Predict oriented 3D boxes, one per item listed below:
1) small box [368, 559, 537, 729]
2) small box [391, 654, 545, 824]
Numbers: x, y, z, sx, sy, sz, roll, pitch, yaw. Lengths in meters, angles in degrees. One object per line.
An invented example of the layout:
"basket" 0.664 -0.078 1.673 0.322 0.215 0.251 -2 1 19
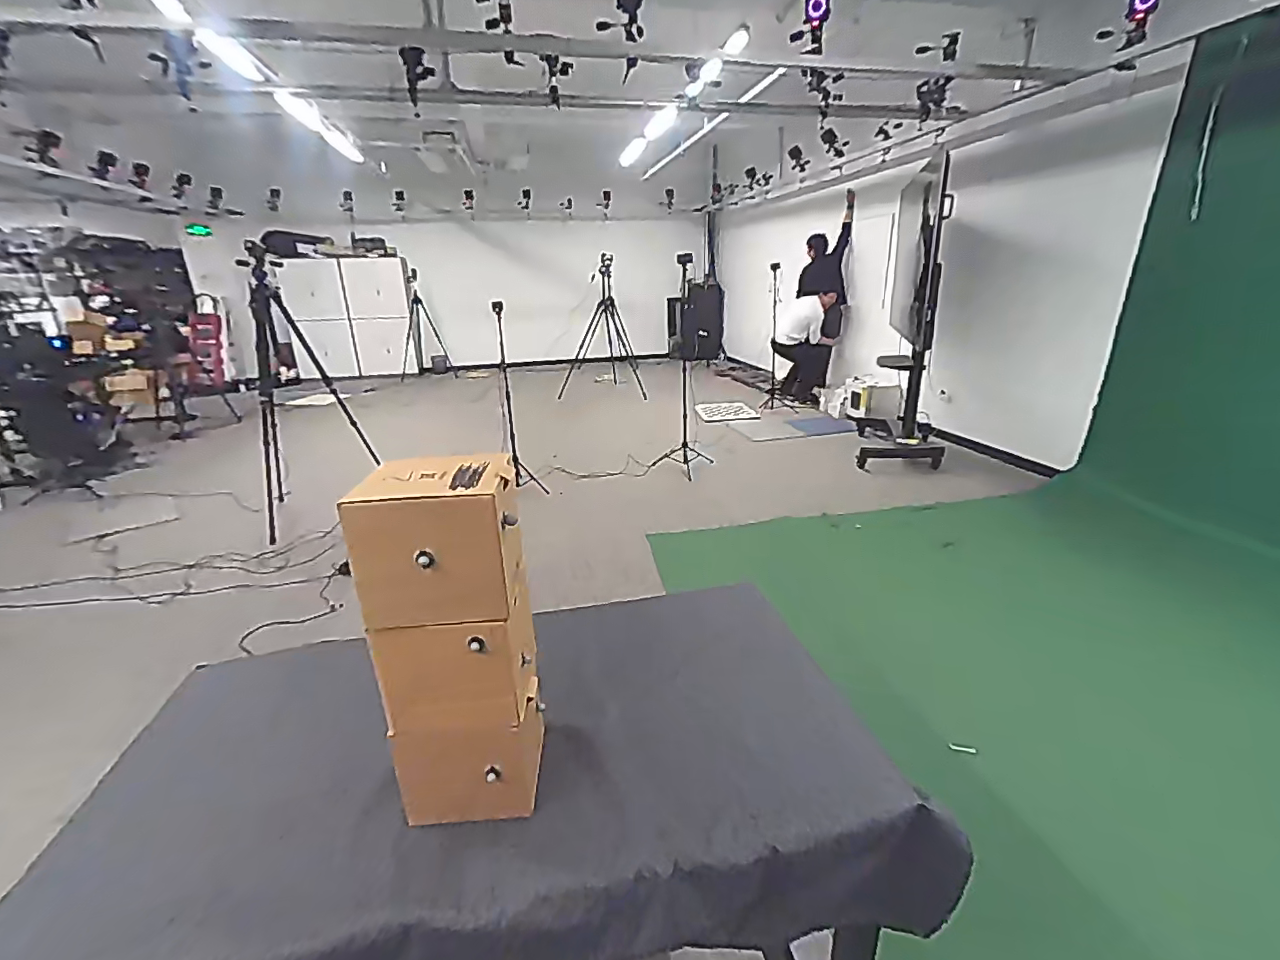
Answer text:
"small box" -0.248 0.227 0.762 0.179 0.176 0.168 -2 19 -3
"small box" -0.243 0.381 0.813 0.179 0.176 0.168 -4 19 -3
